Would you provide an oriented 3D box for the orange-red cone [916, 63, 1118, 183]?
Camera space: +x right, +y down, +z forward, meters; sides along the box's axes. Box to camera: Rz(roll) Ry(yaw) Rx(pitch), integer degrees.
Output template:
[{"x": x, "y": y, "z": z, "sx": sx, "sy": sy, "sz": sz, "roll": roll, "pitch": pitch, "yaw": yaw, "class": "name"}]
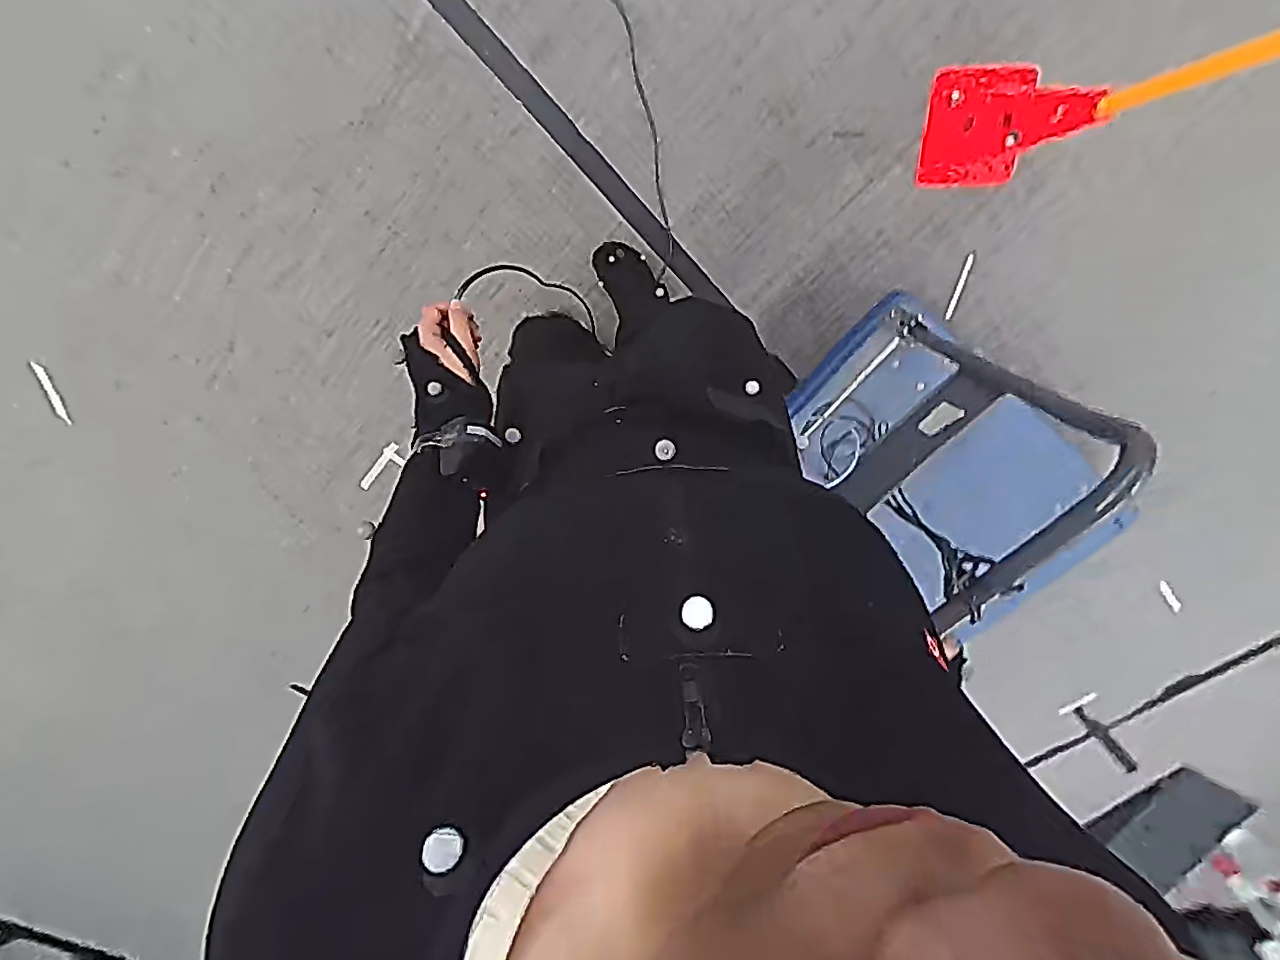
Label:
[{"x": 0.661, "y": -0.616, "z": 0.919, "sx": 0.198, "sy": 0.360, "sz": 0.199, "roll": 0, "pitch": 120, "yaw": 1, "class": "orange-red cone"}]
